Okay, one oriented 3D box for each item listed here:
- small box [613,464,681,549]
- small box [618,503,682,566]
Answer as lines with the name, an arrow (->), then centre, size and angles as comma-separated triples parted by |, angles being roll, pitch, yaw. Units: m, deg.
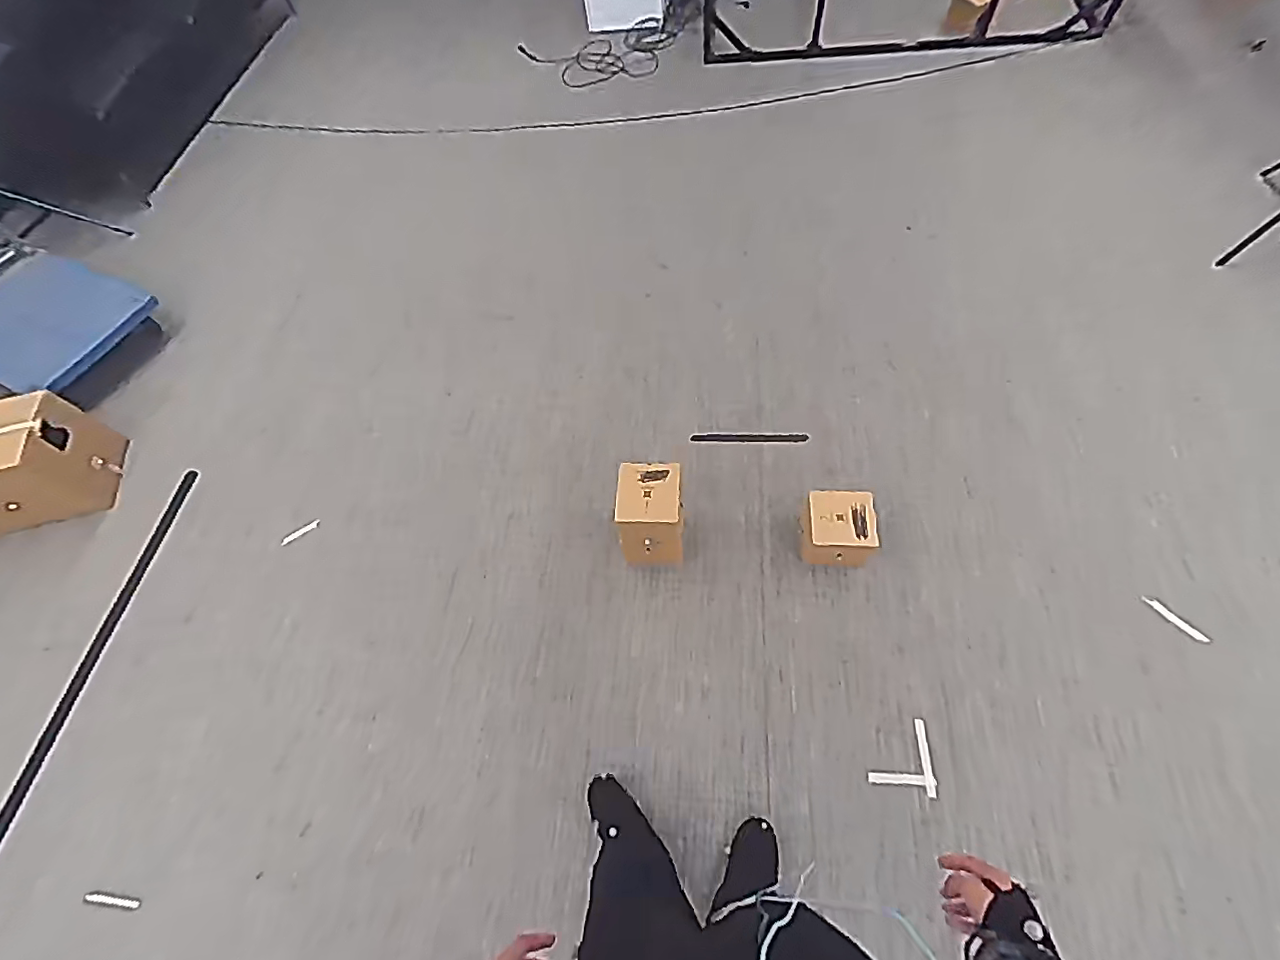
small box -> 0.026, 0.074, 1.477 | 0.168, 0.176, 0.179 | 1, 63, 8
small box -> 0.036, 0.153, 1.620 | 0.179, 0.176, 0.168 | 0, 62, 7
